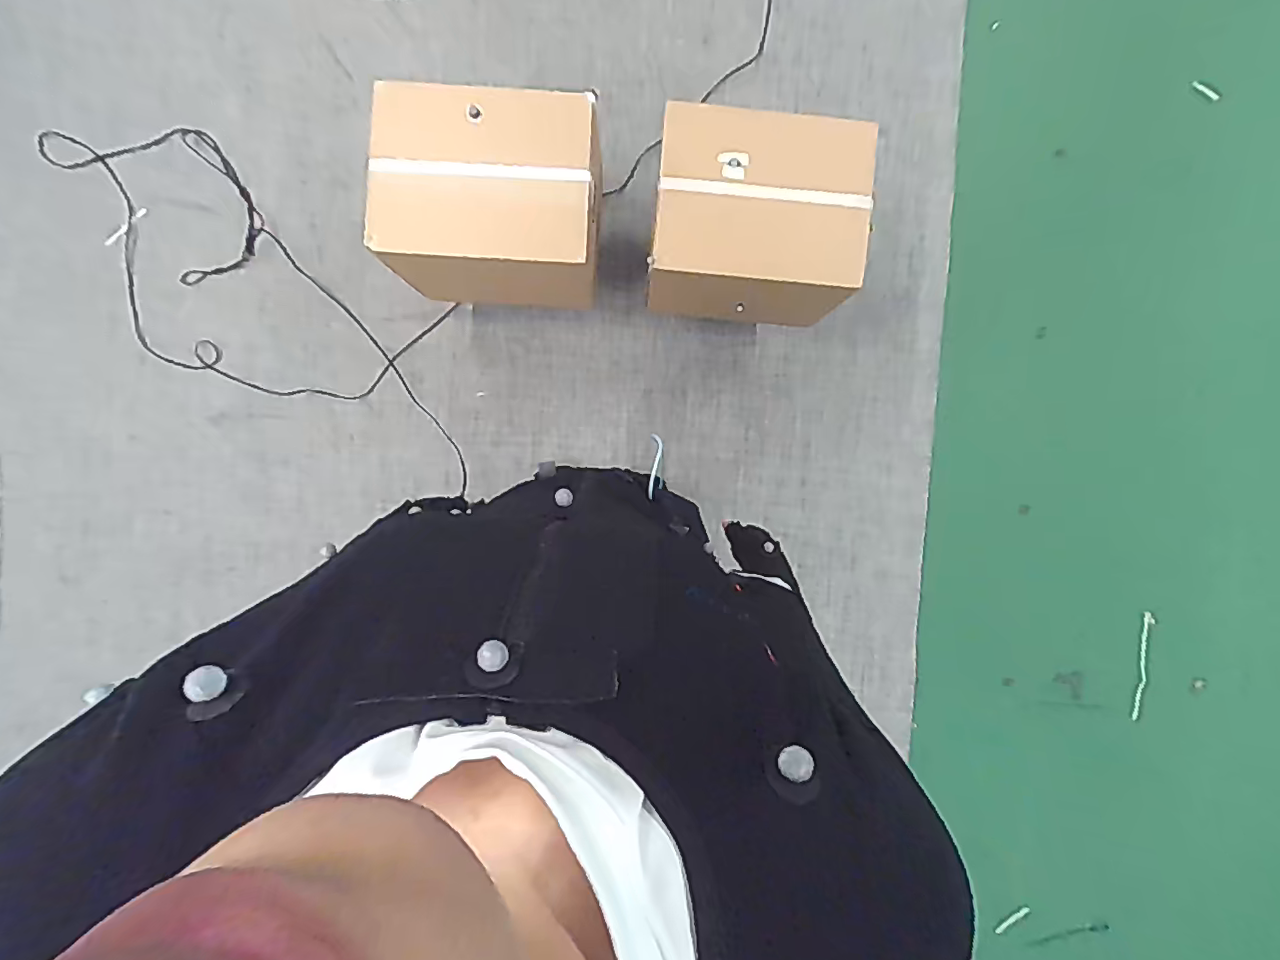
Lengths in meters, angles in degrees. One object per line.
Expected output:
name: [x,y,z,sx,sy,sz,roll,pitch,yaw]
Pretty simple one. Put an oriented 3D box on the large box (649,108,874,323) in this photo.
large box: [0.236,-0.543,1.178,0.408,0.320,0.320,5,92,-1]
